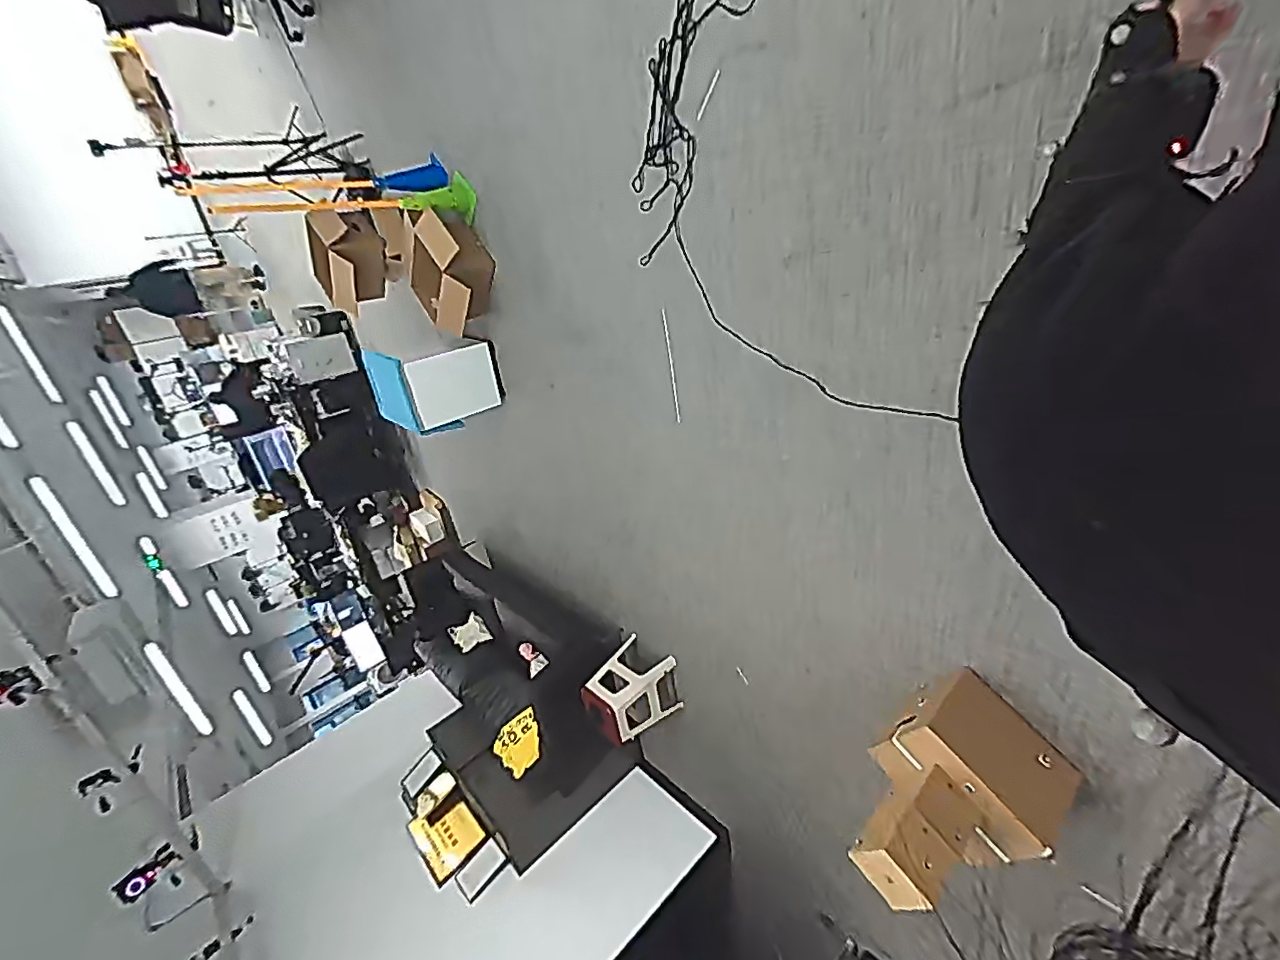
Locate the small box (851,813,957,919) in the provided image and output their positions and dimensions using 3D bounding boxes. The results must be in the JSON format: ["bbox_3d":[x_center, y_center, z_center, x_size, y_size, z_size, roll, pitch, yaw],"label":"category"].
[{"bbox_3d":[0.718,1.036,1.459,0.168,0.176,0.179,48,144,21],"label":"small box"}]
